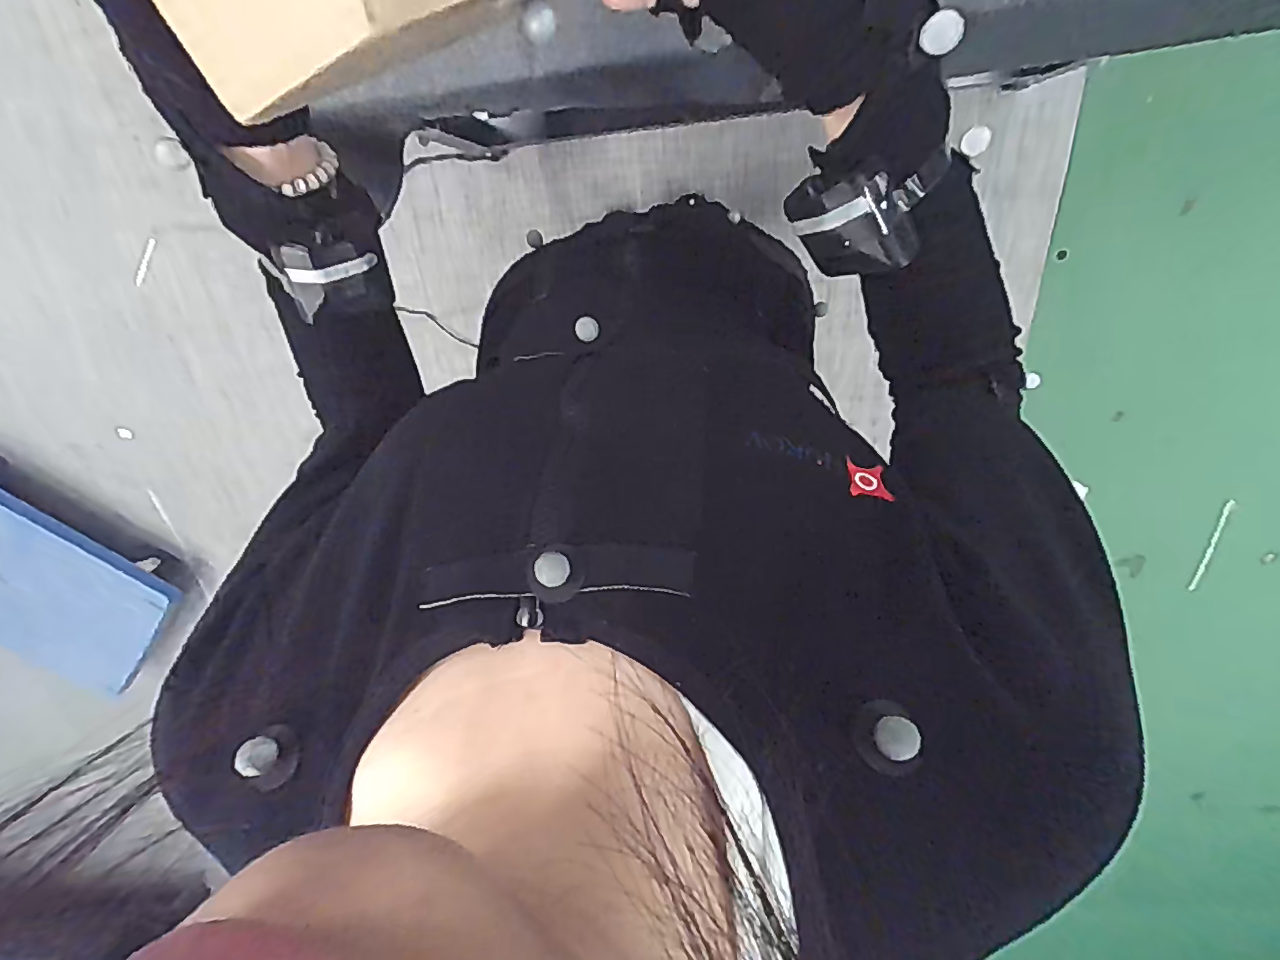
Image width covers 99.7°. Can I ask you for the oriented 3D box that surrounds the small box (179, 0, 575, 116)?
[{"bbox_3d":[-0.086,-0.248,0.164,0.168,0.176,0.179,-45,133,-24],"label":"small box"}]
